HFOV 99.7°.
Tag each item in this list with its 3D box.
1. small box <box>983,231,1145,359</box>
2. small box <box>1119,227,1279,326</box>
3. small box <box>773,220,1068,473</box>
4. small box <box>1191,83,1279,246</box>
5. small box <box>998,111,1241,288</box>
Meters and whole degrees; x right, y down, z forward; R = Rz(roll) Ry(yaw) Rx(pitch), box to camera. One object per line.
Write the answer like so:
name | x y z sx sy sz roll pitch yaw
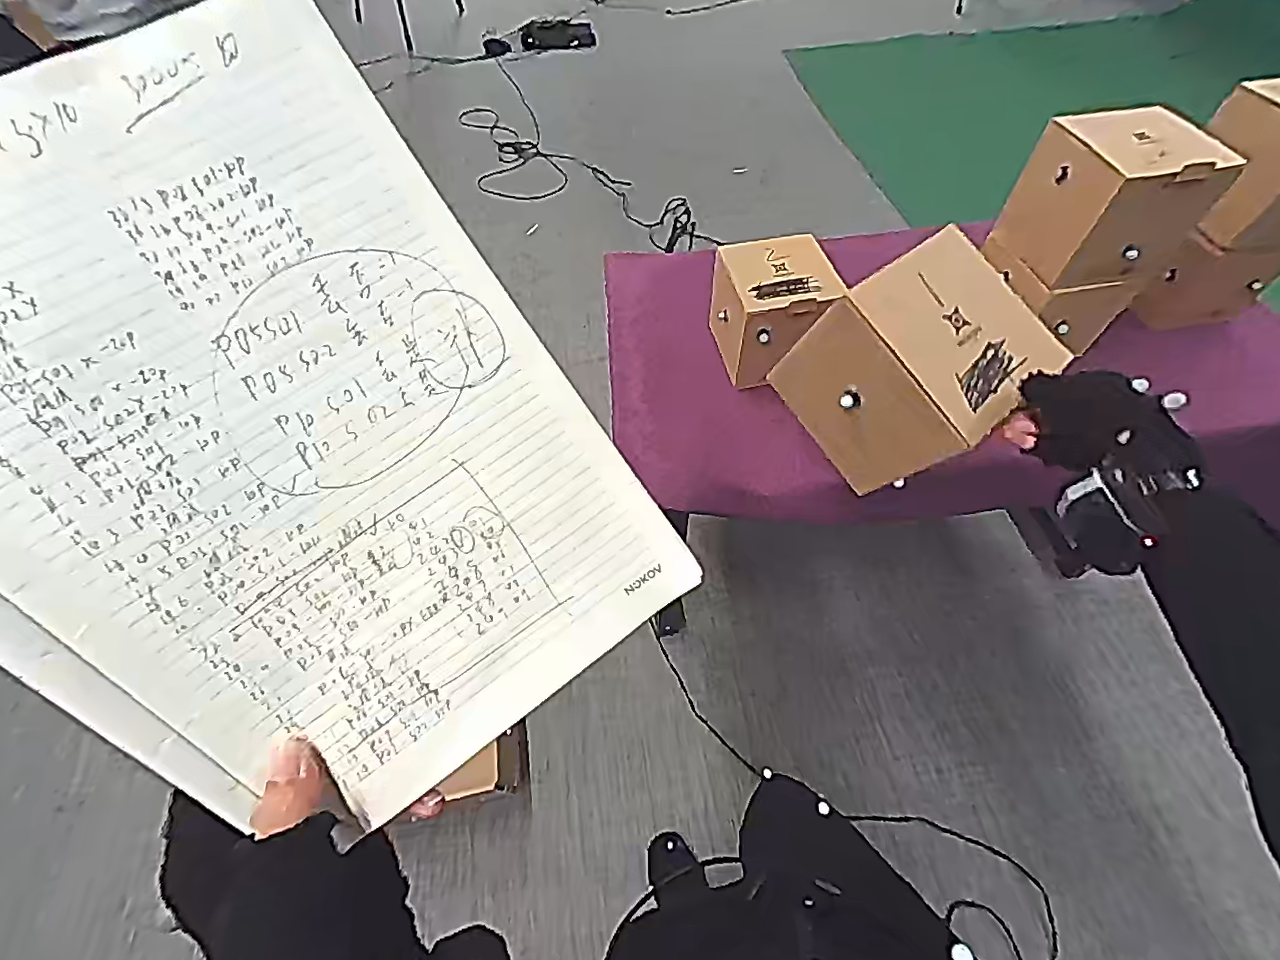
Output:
small box | 0.686 -0.316 0.936 0.168 0.176 0.179 -10 56 -4
small box | 0.994 -0.396 0.976 0.168 0.176 0.179 -7 57 -3
small box | 0.277 -0.124 0.571 0.168 0.176 0.179 -33 83 -18
small box | 0.984 -0.484 0.838 0.168 0.176 0.179 -7 58 -4
small box | 0.683 -0.412 0.802 0.168 0.176 0.179 -7 57 -2
